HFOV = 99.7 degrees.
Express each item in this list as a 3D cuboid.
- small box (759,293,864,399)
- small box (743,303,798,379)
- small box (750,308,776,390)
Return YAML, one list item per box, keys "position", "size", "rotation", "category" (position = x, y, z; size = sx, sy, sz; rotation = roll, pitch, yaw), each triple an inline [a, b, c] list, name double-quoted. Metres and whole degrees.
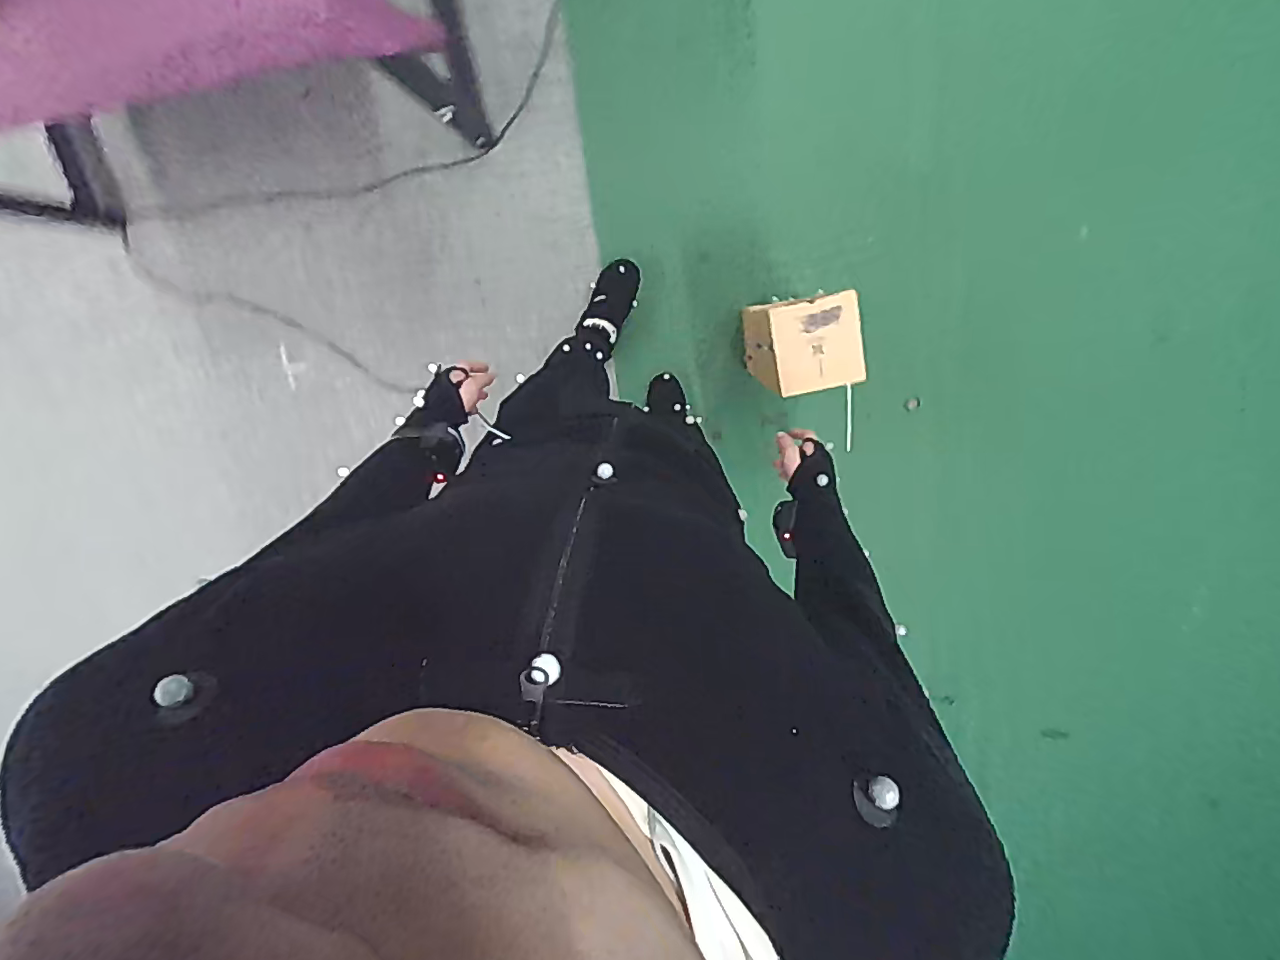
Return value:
- position: [0.348, -0.277, 1.119]
  size: [0.168, 0.176, 0.179]
  rotation: [-10, 105, 8]
  category: "small box"
- position: [0.368, -0.371, 1.432]
  size: [0.168, 0.176, 0.179]
  rotation: [-6, 105, 6]
  category: "small box"
- position: [0.359, -0.320, 1.277]
  size: [0.168, 0.176, 0.179]
  rotation: [-9, 104, 7]
  category: "small box"
